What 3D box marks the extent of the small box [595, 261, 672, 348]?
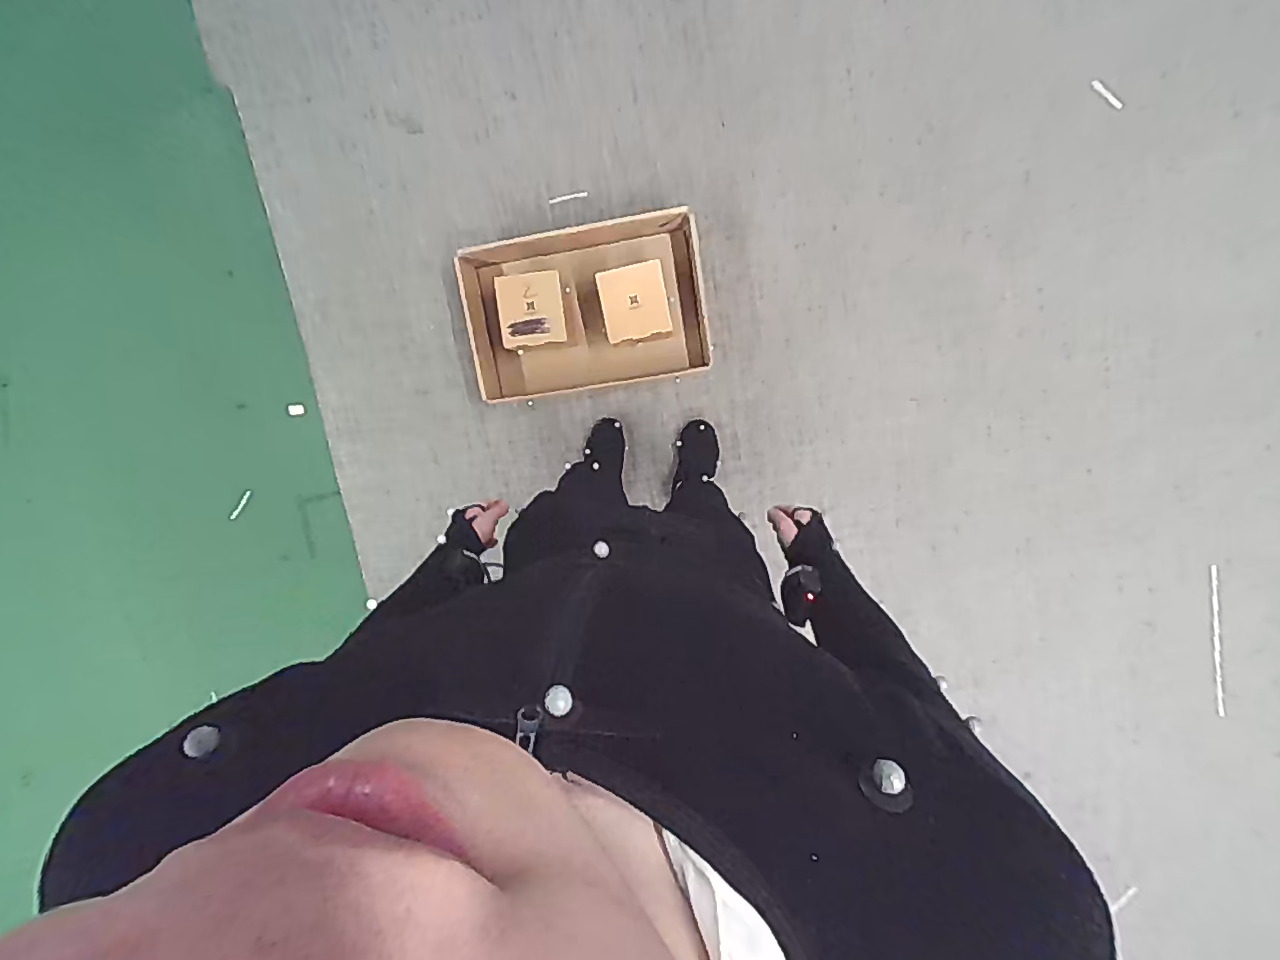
[{"bbox_3d":[-0.013,-0.452,1.417,0.168,0.176,0.179,-11,100,6],"label":"small box"}]
